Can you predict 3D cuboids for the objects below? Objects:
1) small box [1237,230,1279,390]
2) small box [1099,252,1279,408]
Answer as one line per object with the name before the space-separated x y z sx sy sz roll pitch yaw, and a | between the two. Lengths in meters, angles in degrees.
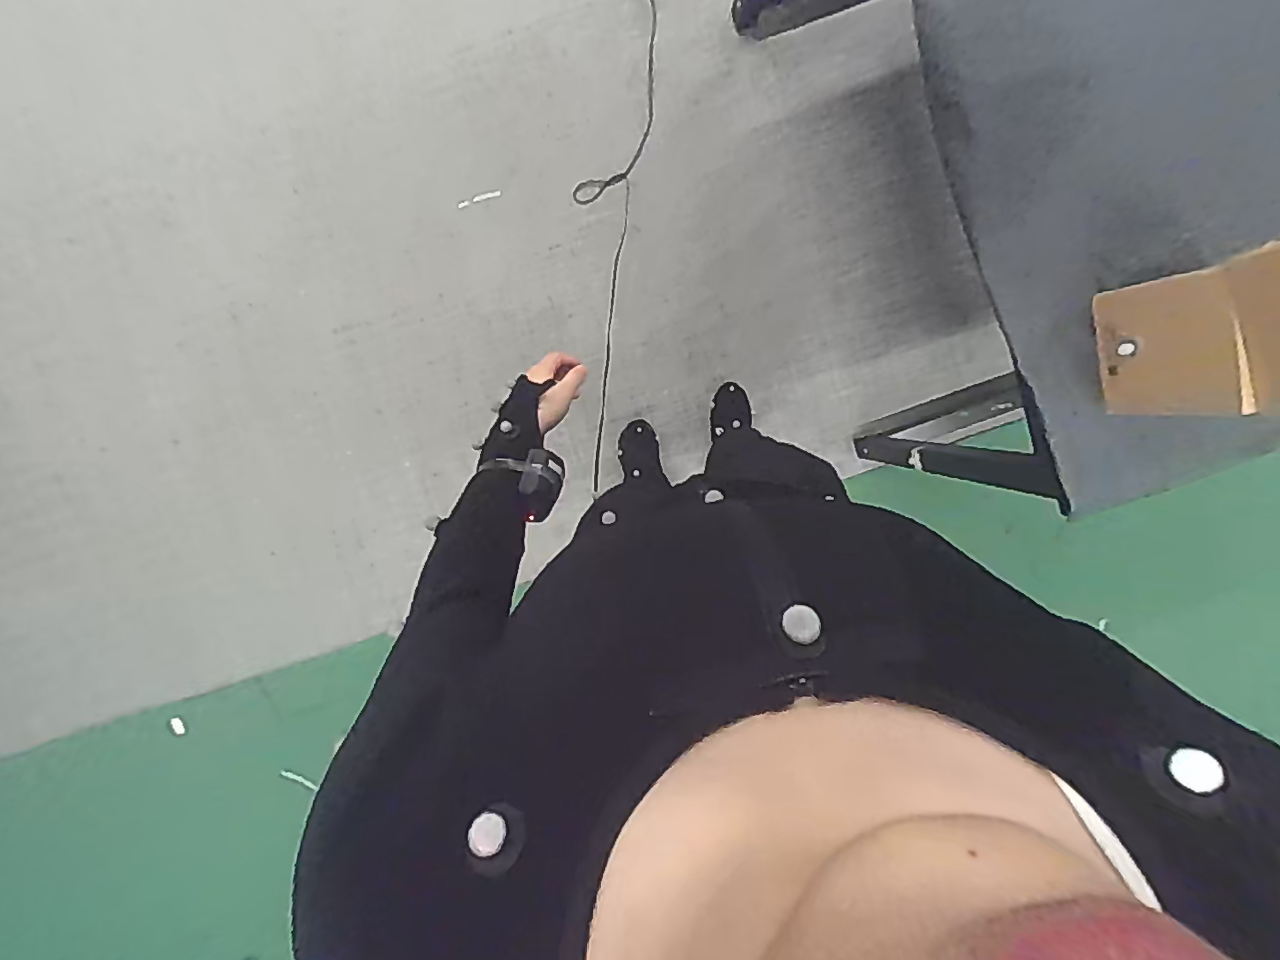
small box | 0.717 -0.177 0.486 0.168 0.176 0.179 -21 96 -2
small box | 0.711 -0.185 0.648 0.179 0.176 0.168 -13 97 -1
